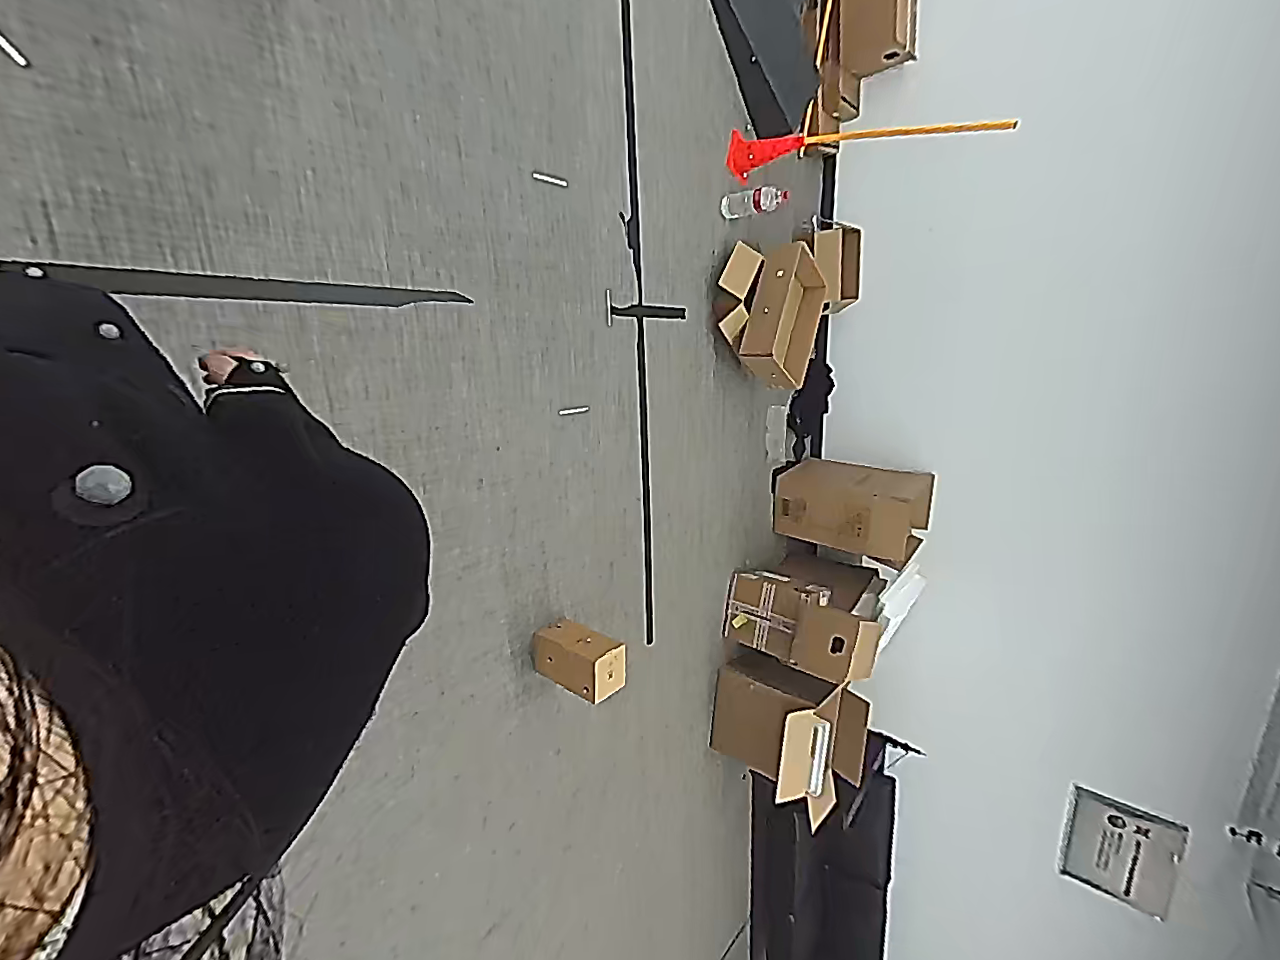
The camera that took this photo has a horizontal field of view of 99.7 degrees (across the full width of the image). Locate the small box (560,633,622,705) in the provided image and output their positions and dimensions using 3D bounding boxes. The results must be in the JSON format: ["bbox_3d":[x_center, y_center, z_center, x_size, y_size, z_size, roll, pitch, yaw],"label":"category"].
[{"bbox_3d":[-0.185,0.695,2.008,0.168,0.176,0.179,-13,107,-50],"label":"small box"}]
